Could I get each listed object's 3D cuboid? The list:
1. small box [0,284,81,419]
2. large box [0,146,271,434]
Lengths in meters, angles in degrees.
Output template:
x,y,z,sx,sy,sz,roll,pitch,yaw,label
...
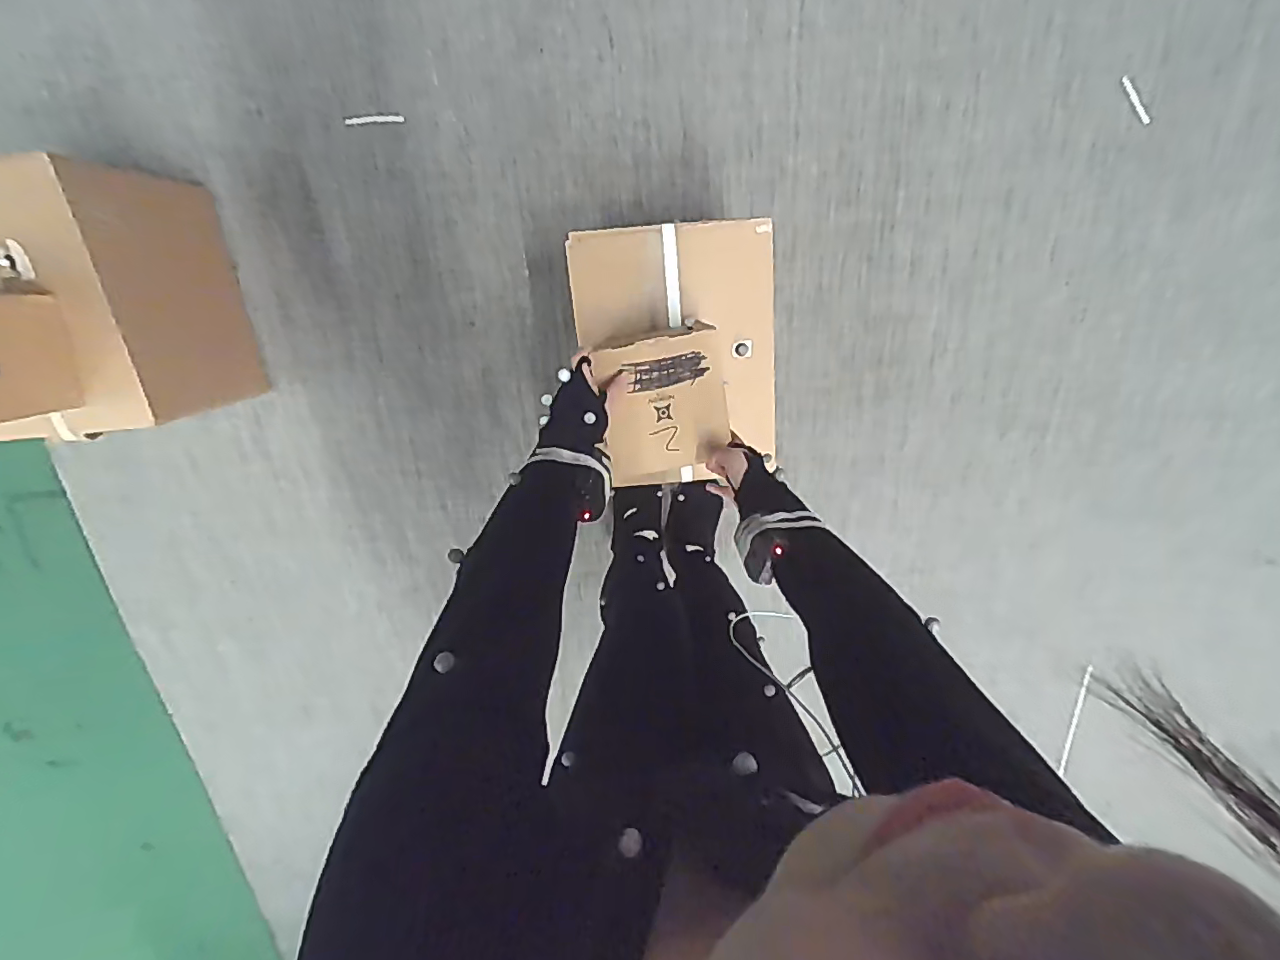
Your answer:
x,y,z,sx,sy,sz,roll,pitch,yaw,label
-0.965,-0.188,0.762,0.168,0.176,0.179,6,111,-2,small box
-0.963,-0.321,0.970,0.320,0.320,0.408,-5,110,1,large box
